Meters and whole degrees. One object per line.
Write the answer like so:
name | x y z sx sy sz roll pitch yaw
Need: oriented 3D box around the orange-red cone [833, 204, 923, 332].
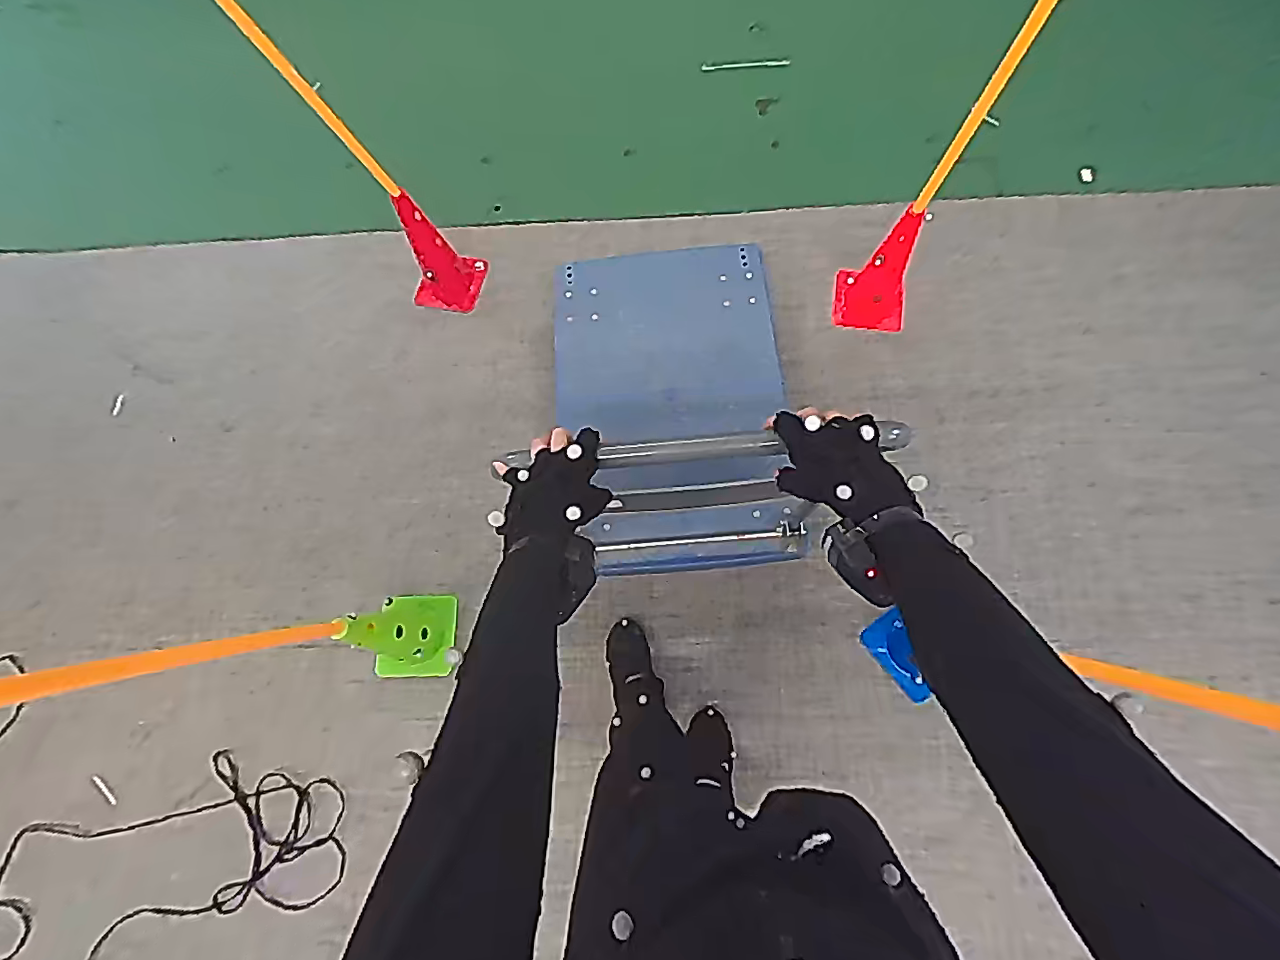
orange-red cone | 0.668 -0.585 1.449 0.198 0.360 0.199 9 74 8
